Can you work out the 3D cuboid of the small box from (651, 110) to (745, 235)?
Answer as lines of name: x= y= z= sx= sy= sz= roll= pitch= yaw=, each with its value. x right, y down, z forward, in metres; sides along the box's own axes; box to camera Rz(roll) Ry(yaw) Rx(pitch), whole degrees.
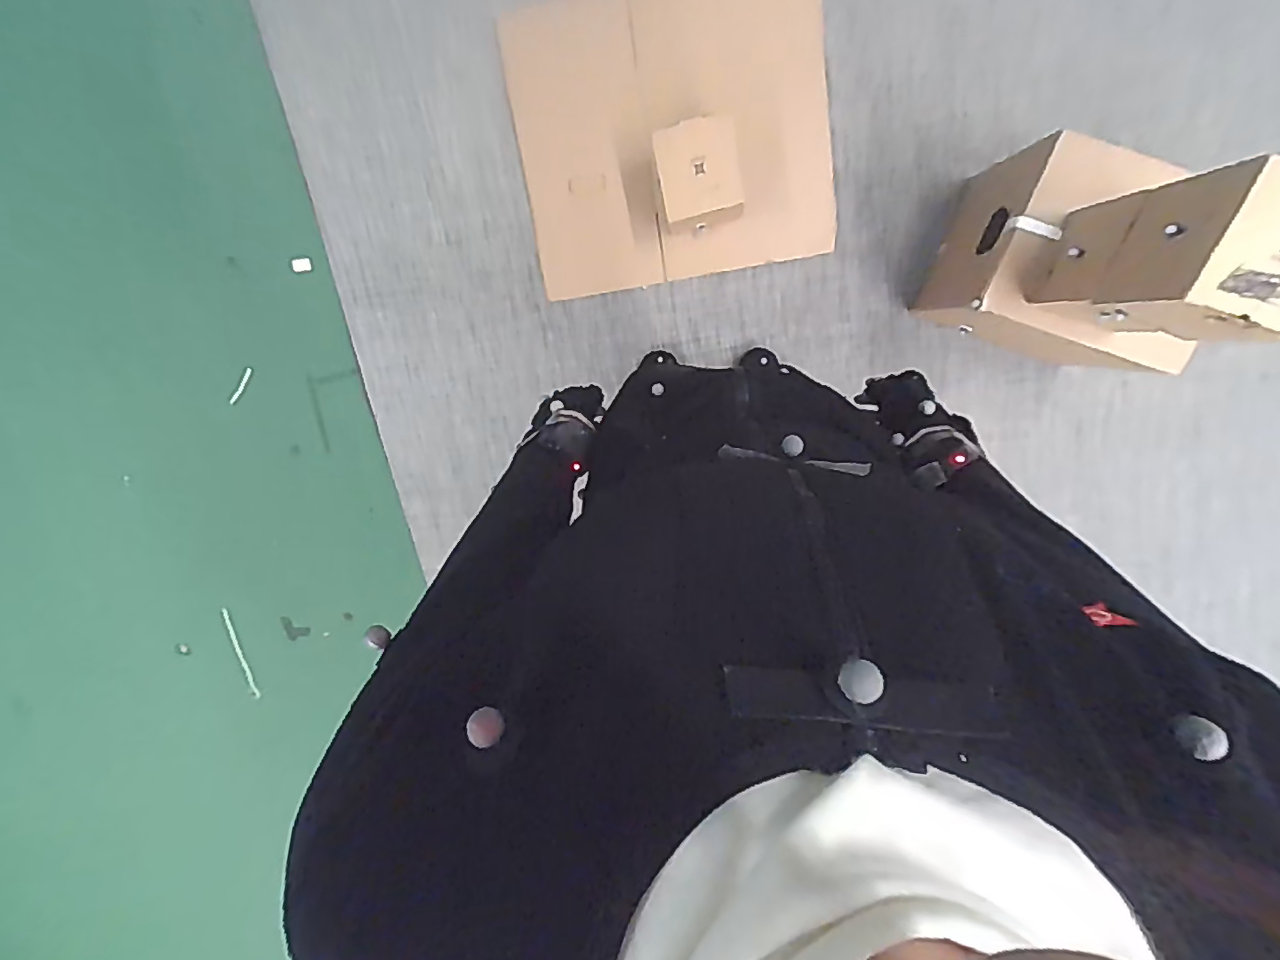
small box: x=0.127 y=-0.651 z=1.167 sx=0.168 sy=0.176 sz=0.179 roll=-11 pitch=104 yaw=11

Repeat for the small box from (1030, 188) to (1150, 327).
small box: x=0.802 y=-0.355 z=0.895 sx=0.179 sy=0.176 sz=0.168 roll=14 pitch=104 yaw=0

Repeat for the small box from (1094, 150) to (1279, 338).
small box: x=0.782 y=-0.304 z=0.736 sx=0.168 sy=0.176 sz=0.179 roll=19 pitch=105 yaw=-2
